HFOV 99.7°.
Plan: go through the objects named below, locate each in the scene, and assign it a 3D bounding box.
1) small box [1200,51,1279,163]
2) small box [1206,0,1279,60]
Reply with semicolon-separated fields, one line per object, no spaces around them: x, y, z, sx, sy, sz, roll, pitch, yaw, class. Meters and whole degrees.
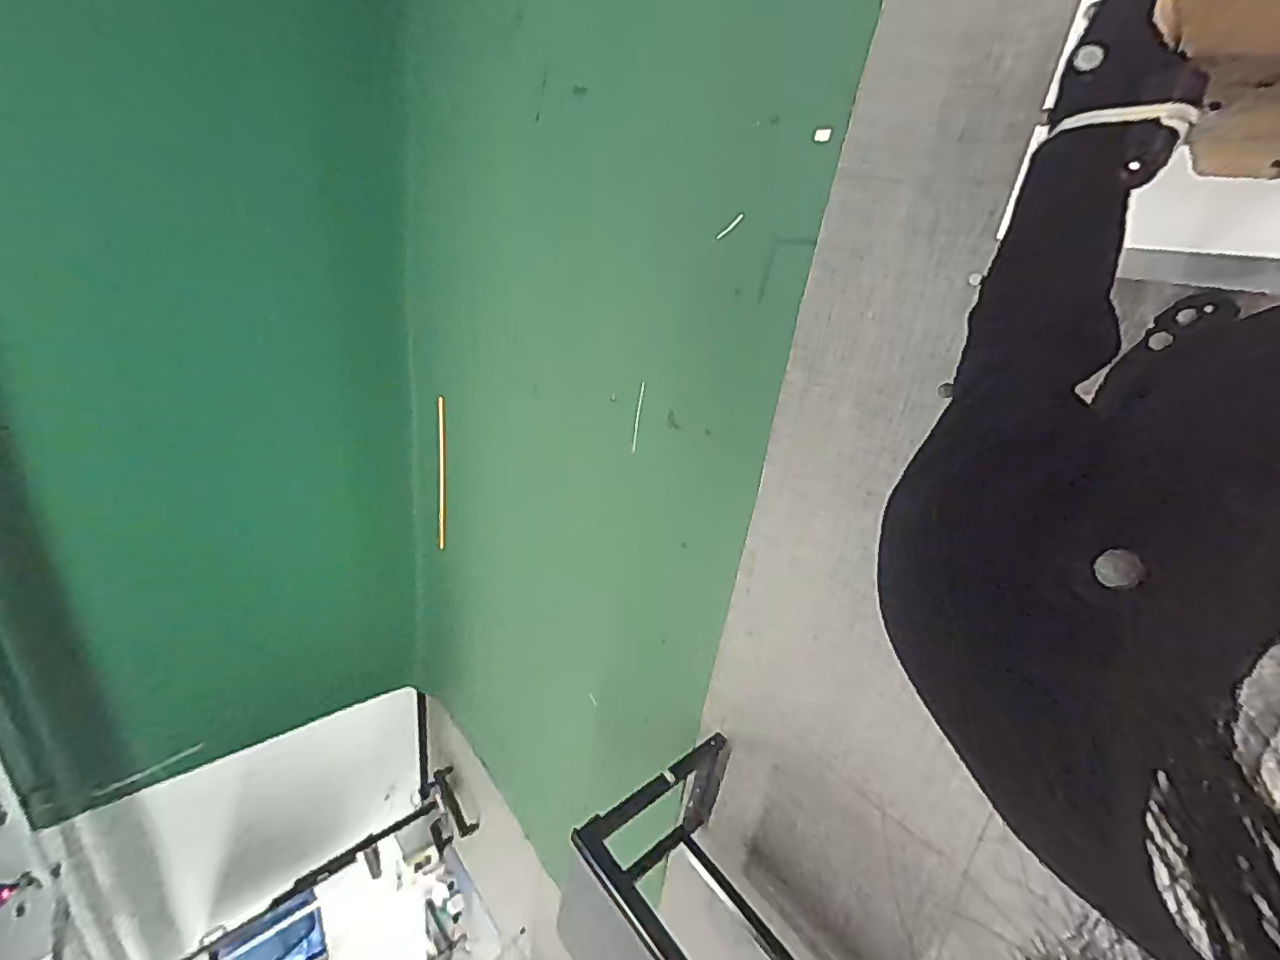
0.644;-0.392;0.470;0.168;0.176;0.179;32;122;40;small box
0.402;-0.344;0.252;0.168;0.176;0.179;22;116;45;small box
